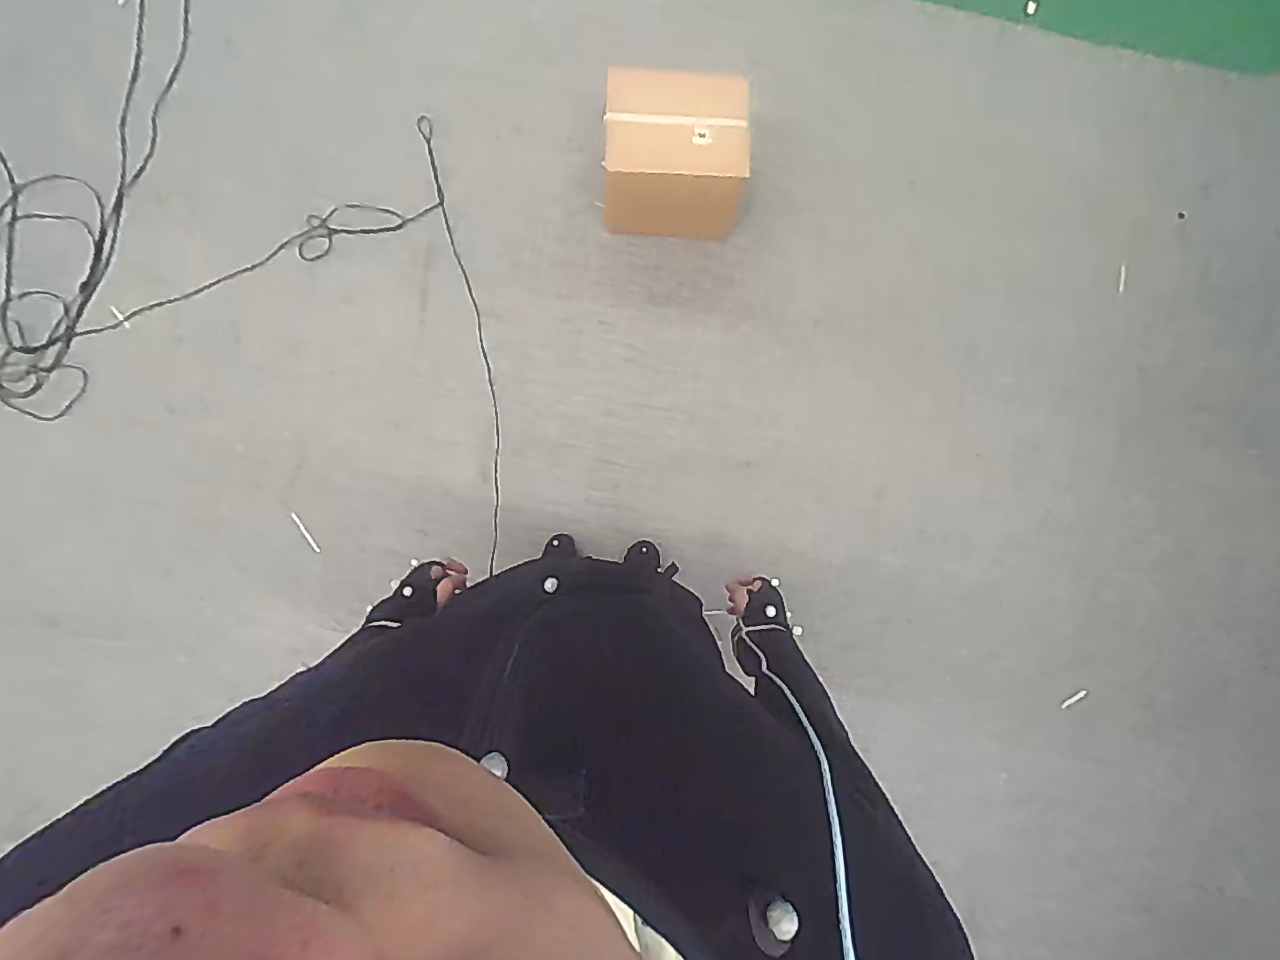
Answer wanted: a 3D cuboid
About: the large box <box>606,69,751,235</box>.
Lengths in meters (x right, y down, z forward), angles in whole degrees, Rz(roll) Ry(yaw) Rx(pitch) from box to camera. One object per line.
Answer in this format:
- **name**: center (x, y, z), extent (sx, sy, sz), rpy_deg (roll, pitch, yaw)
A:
- **large box**: center (0.099, -0.976, 1.648), extent (0.408, 0.320, 0.320), rpy_deg (1, 84, -3)
